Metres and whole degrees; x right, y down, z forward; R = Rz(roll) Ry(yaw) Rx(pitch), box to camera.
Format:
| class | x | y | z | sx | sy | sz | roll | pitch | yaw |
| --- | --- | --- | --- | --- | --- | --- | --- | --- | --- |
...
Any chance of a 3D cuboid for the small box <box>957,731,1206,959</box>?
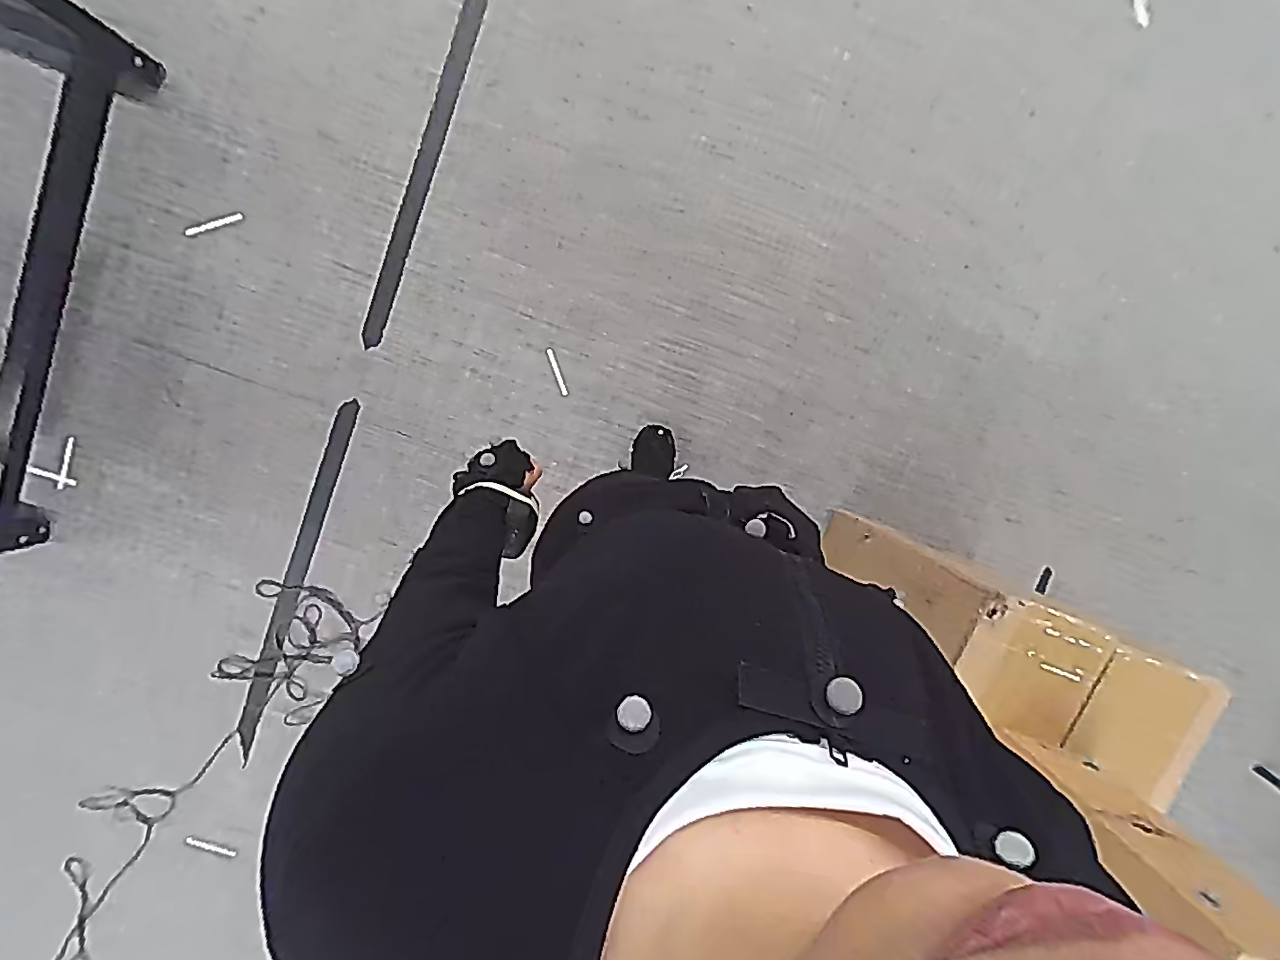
| class | x | y | z | sx | sy | sz | roll | pitch | yaw |
| --- | --- | --- | --- | --- | --- | --- | --- | --- | --- |
| small box | 0.577 | 0.482 | 0.736 | 0.168 | 0.176 | 0.179 | 21 | 98 | -3 |
